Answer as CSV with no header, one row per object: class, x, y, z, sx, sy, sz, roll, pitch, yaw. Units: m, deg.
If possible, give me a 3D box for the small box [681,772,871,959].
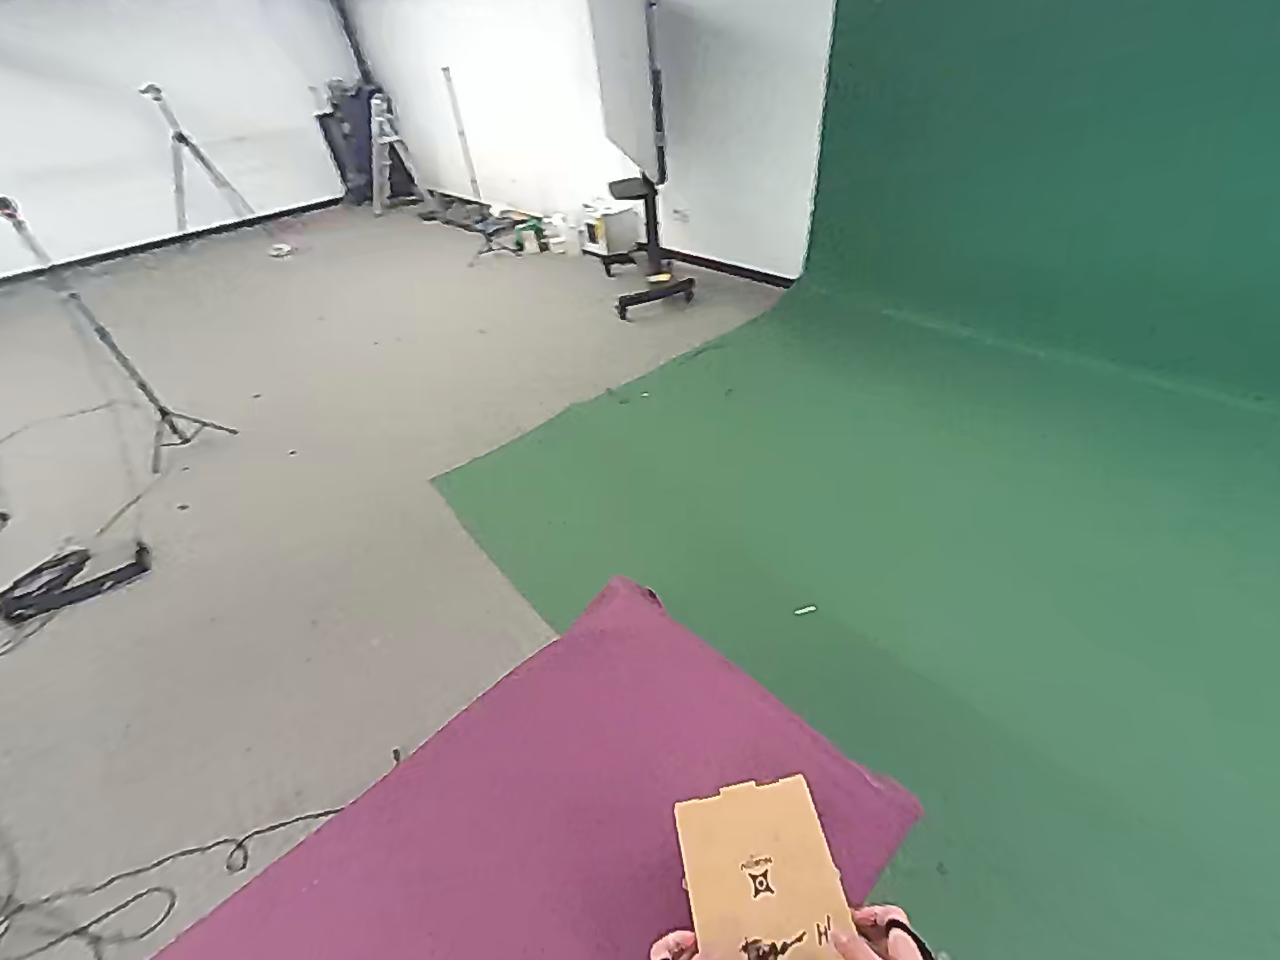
small box,0.154,0.485,0.650,0.168,0.176,0.179,-15,45,3
